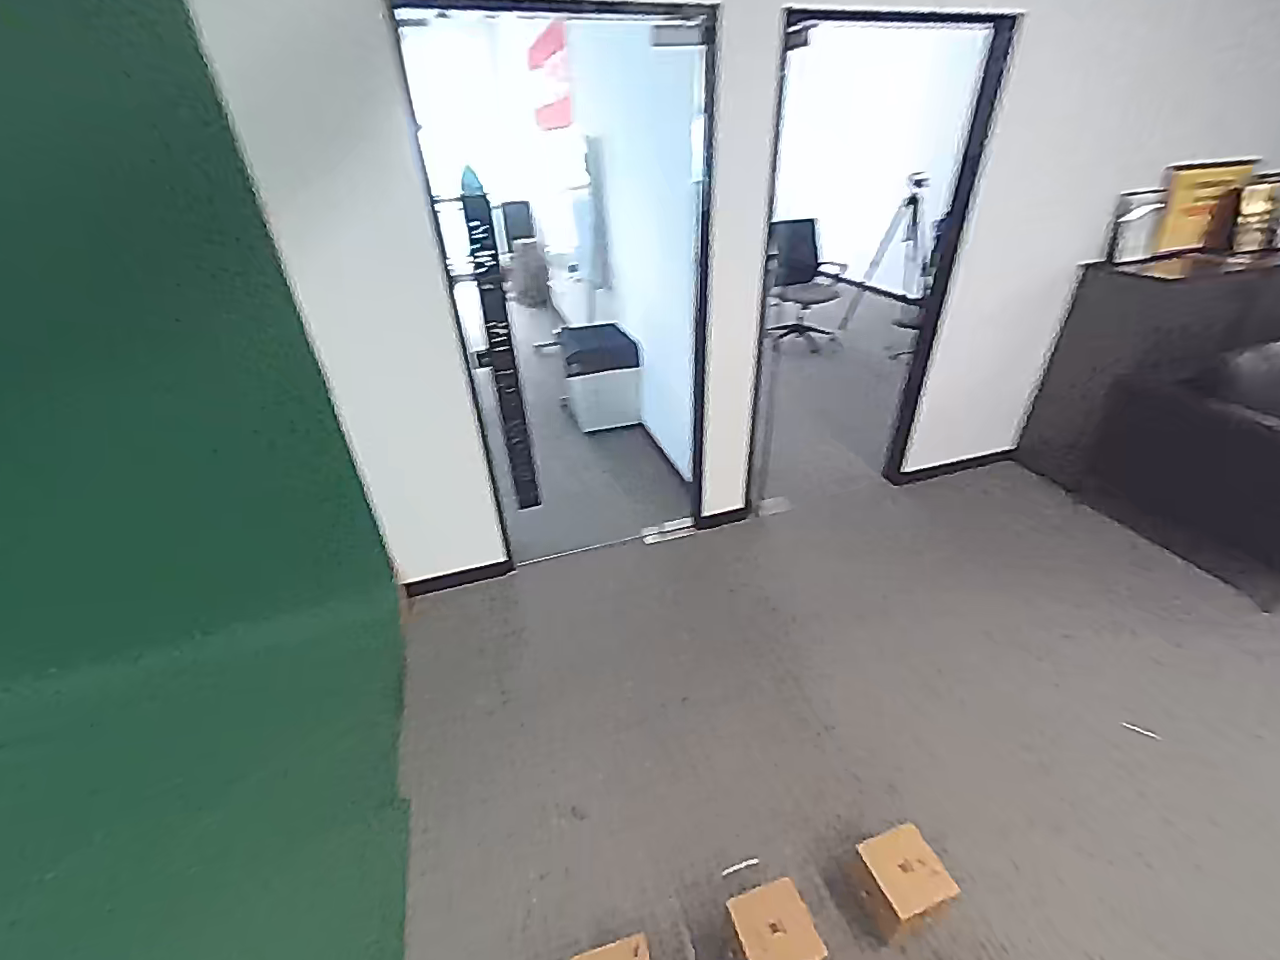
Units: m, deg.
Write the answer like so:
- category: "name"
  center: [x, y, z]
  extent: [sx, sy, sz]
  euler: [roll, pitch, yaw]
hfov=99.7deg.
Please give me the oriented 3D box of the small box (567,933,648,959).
- category: "small box"
  center: [-0.054, 1.146, 1.181]
  extent: [0.179, 0.176, 0.168]
  euler: [-9, 33, -10]

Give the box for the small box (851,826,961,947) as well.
- category: "small box"
  center: [0.650, 1.016, 1.349]
  extent: [0.179, 0.176, 0.168]
  euler: [-11, 33, -14]

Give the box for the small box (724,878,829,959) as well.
- category: "small box"
  center: [0.309, 1.083, 1.263]
  extent: [0.179, 0.176, 0.168]
  euler: [-10, 32, -13]
